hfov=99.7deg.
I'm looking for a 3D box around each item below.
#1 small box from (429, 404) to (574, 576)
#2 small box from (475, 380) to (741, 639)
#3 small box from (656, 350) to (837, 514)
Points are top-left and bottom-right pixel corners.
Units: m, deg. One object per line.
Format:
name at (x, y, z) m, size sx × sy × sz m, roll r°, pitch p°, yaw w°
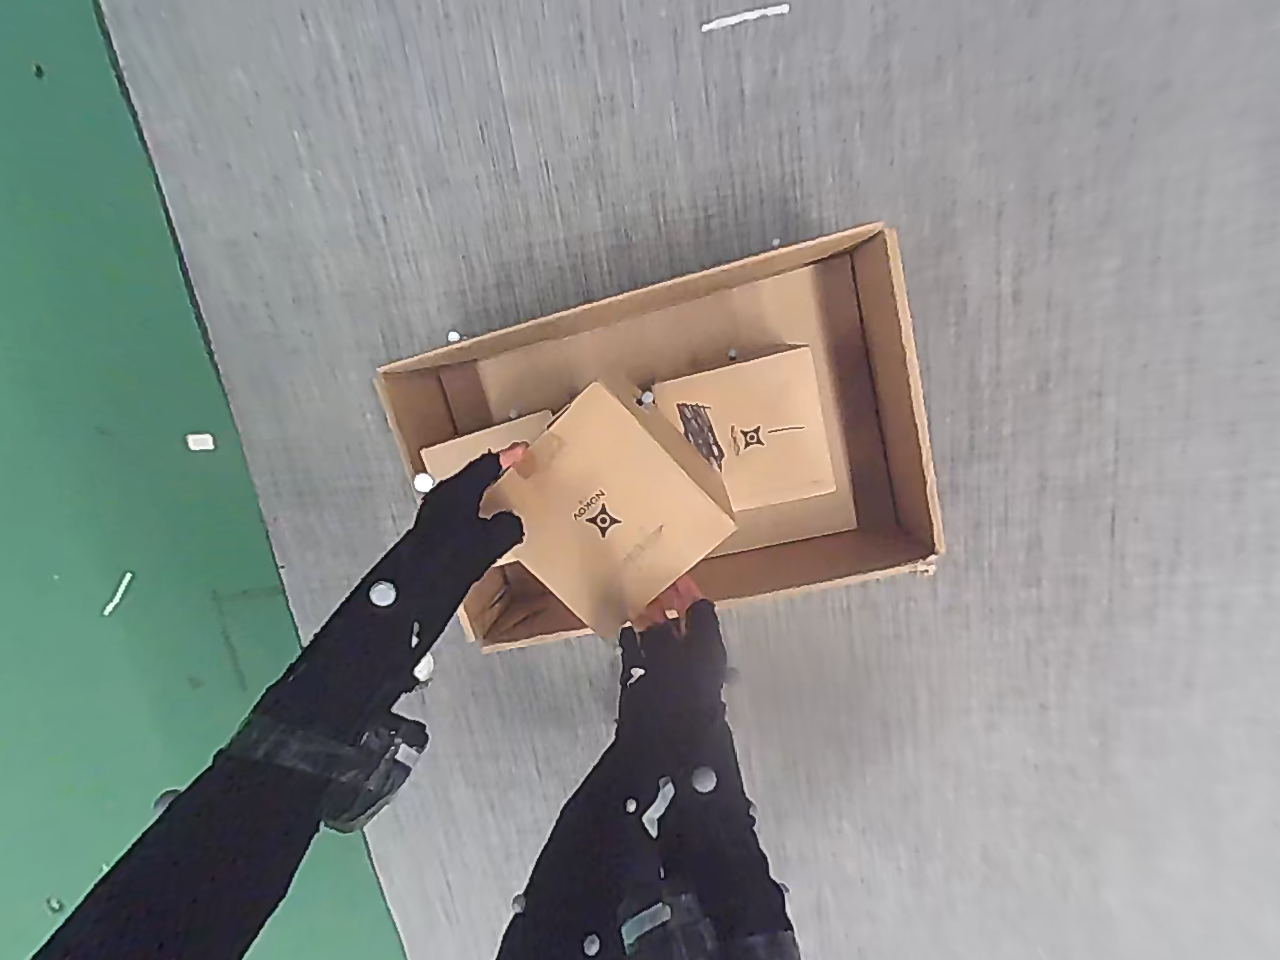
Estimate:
small box at (-0.142, 0.003, 0.726) m, size 0.179 × 0.176 × 0.168 m, roll -17°, pitch 101°, yaw 9°
small box at (-0.025, 0.014, 0.544) m, size 0.179 × 0.176 × 0.168 m, roll 44°, pitch 104°, yaw -9°
small box at (0.129, -0.061, 0.677) m, size 0.179 × 0.176 × 0.168 m, roll -12°, pitch 102°, yaw 9°
